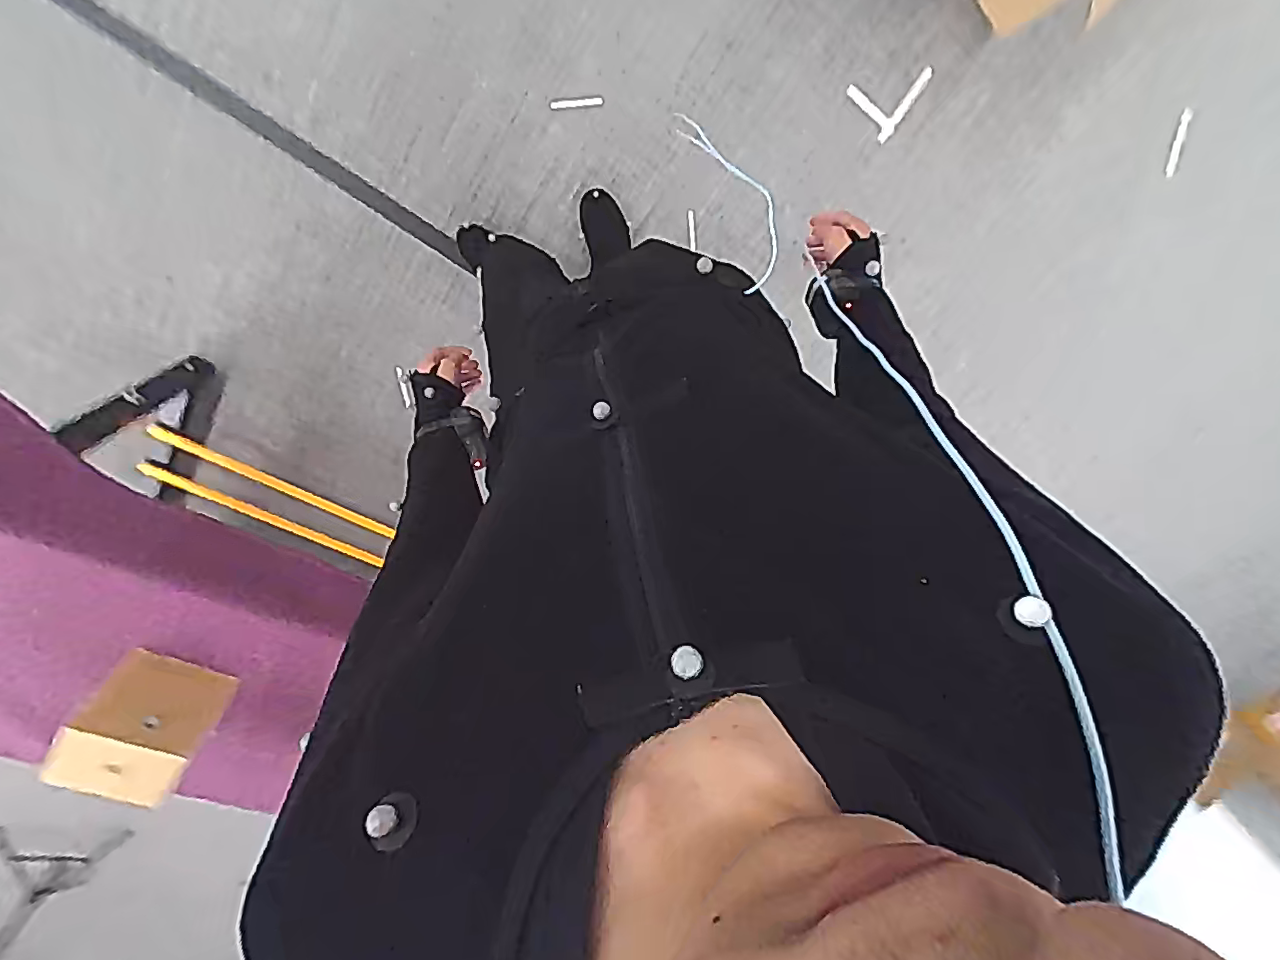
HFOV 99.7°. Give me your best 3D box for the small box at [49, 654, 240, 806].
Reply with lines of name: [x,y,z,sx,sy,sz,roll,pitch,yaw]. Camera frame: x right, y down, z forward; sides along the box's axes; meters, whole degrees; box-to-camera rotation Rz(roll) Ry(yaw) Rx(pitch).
small box: [-0.879,0.444,0.975,0.179,0.176,0.168,31,112,-24]
